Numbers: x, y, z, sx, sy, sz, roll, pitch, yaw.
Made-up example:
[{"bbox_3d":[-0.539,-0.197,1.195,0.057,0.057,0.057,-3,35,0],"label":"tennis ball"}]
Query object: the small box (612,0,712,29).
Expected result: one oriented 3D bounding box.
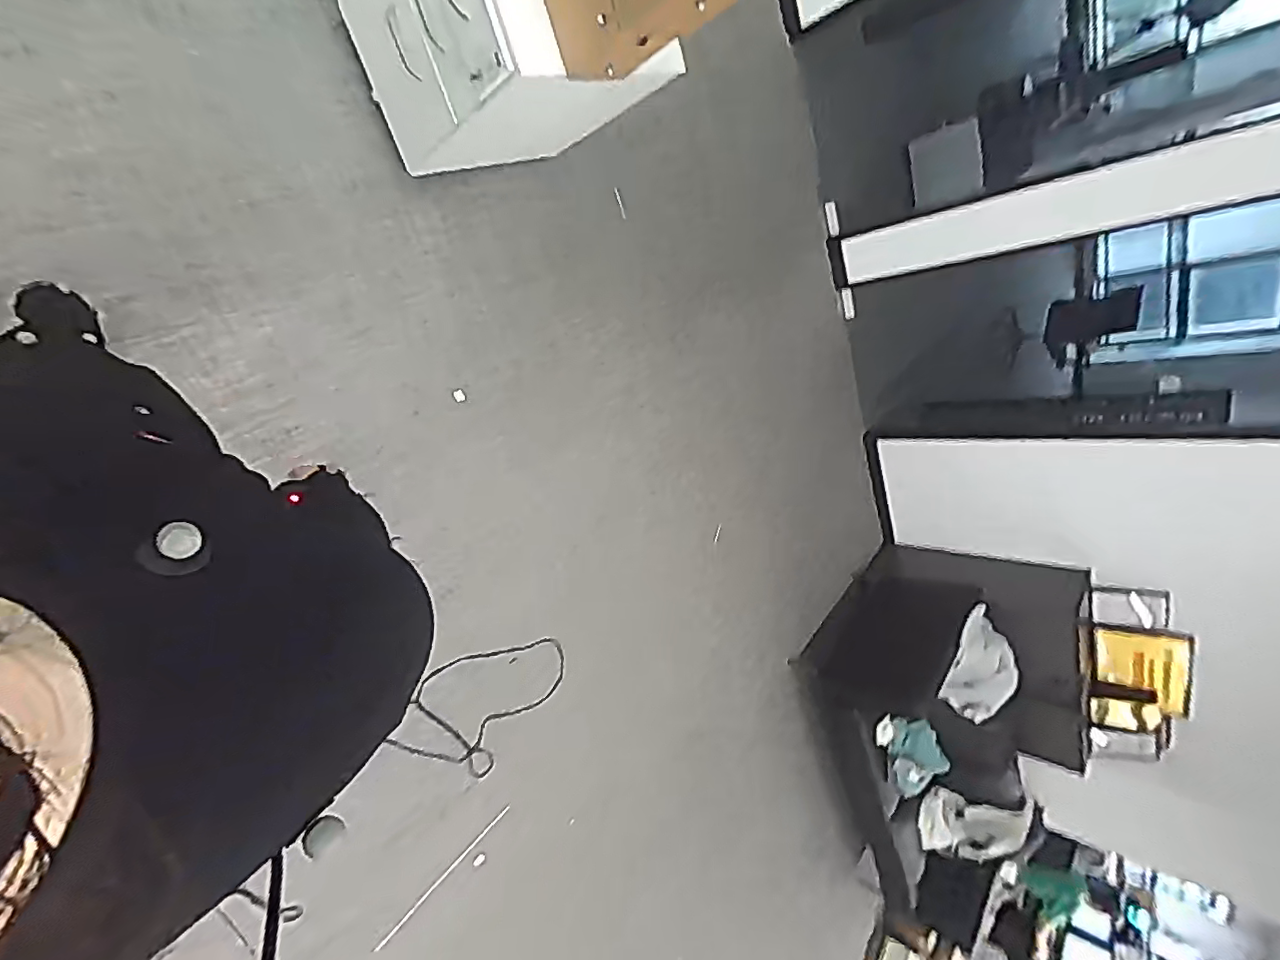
[{"bbox_3d":[0.047,-0.908,0.921,0.179,0.176,0.168,-34,117,-37],"label":"small box"}]
